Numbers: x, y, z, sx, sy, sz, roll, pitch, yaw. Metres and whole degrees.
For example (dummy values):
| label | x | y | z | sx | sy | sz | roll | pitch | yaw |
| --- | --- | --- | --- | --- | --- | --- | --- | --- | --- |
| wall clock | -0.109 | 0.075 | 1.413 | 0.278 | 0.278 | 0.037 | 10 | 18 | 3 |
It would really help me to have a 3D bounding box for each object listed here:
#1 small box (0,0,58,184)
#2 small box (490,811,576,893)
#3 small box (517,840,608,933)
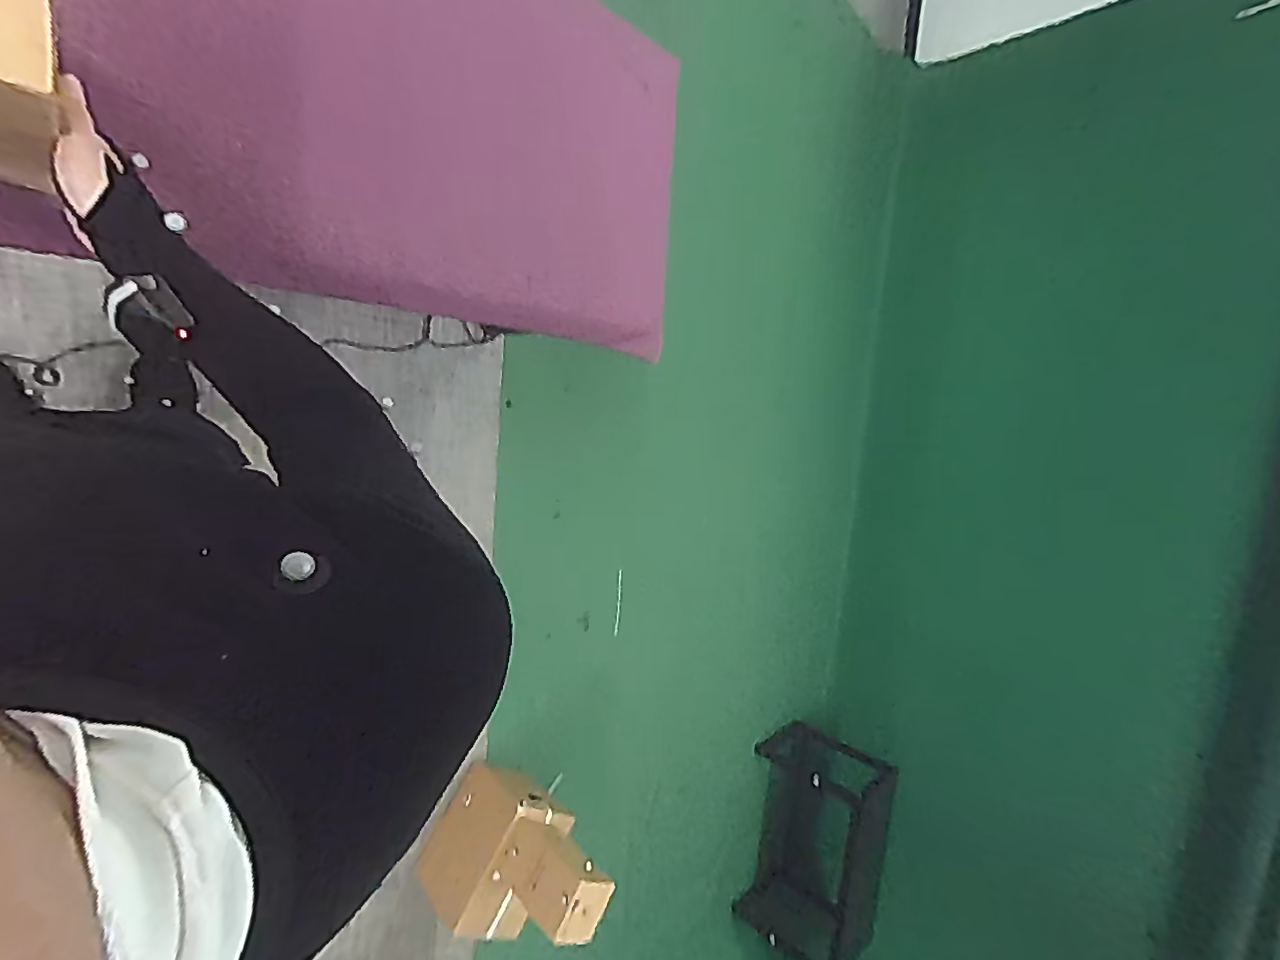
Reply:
| label | x | y | z | sx | sy | sz | roll | pitch | yaw |
| --- | --- | --- | --- | --- | --- | --- | --- | --- | --- |
| small box | -0.624 | -0.382 | 0.463 | 0.168 | 0.176 | 0.179 | -3 | 101 | -47 |
| small box | -0.351 | 1.221 | 1.776 | 0.179 | 0.176 | 0.168 | 46 | 65 | -41 |
| small box | -0.239 | 1.240 | 1.657 | 0.179 | 0.176 | 0.168 | 45 | 66 | -42 |
